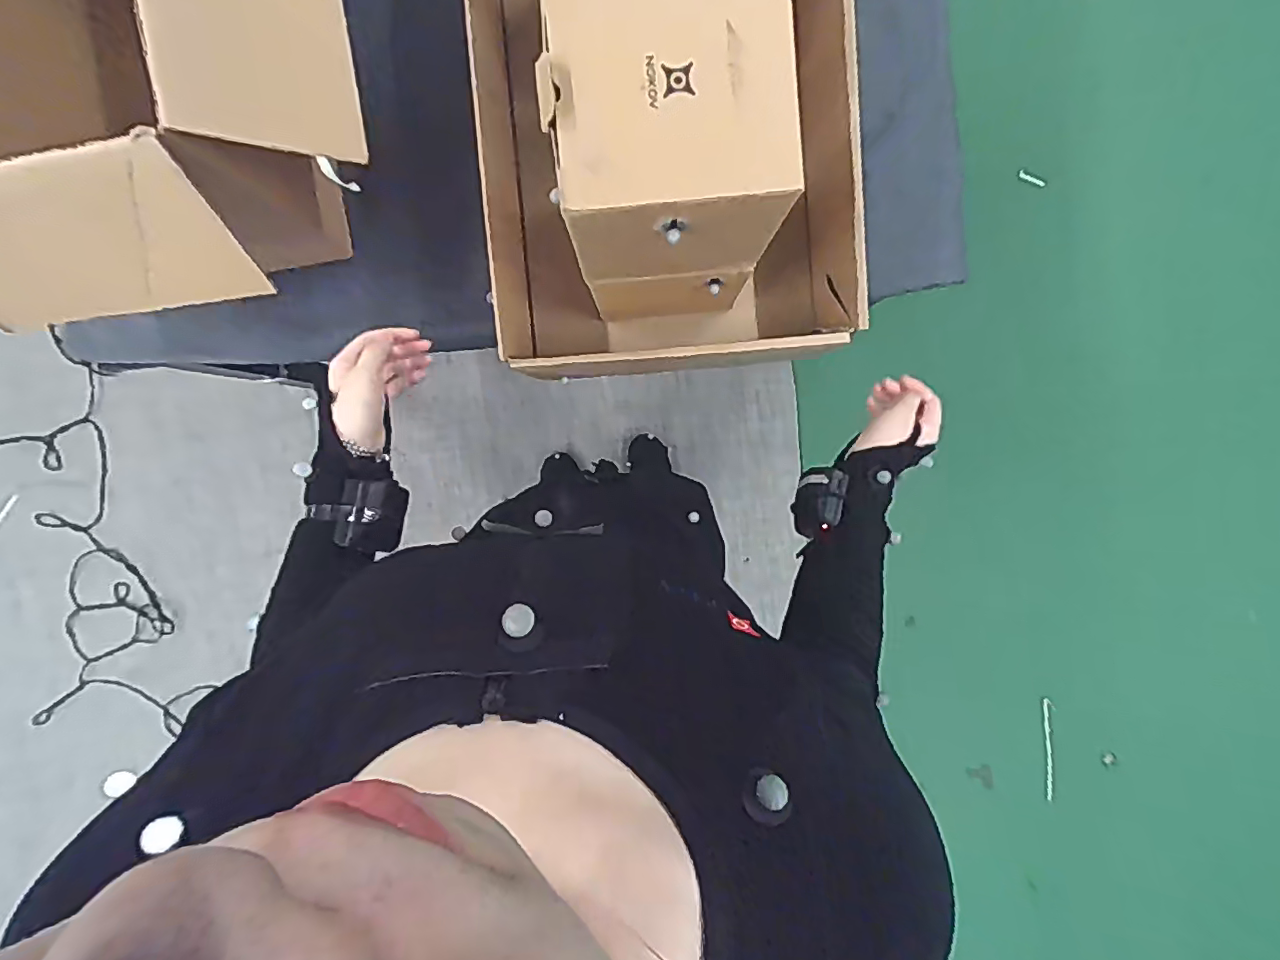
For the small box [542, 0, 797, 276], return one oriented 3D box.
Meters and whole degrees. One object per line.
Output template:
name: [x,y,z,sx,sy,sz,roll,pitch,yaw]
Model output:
small box: [0.022,-0.287,0.468,0.179,0.176,0.168,-5,95,-1]
